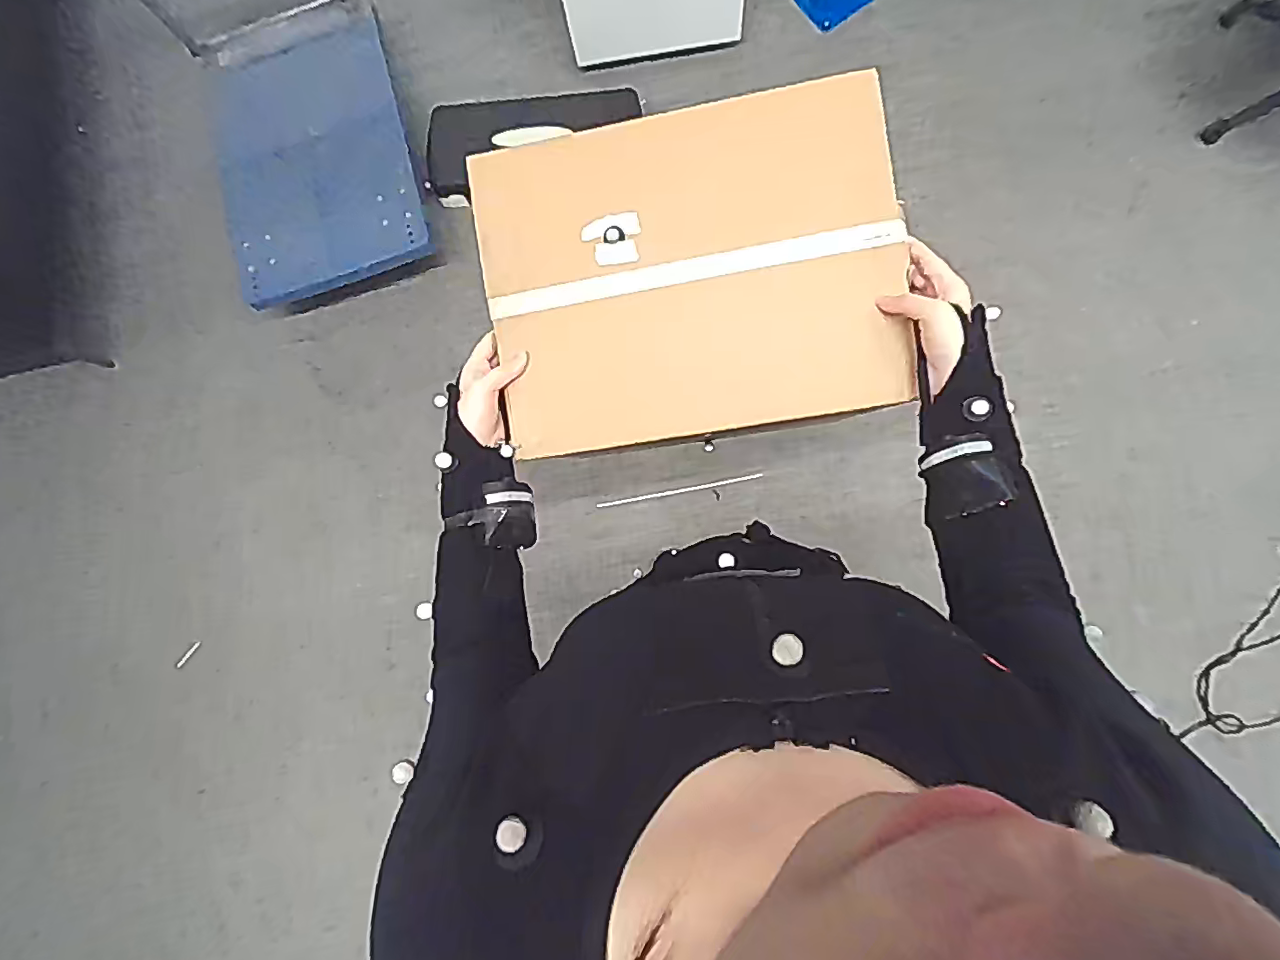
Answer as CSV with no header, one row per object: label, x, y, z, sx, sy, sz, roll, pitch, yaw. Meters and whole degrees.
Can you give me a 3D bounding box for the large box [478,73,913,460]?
large box,0.068,-0.214,0.691,0.408,0.320,0.320,-9,91,8
